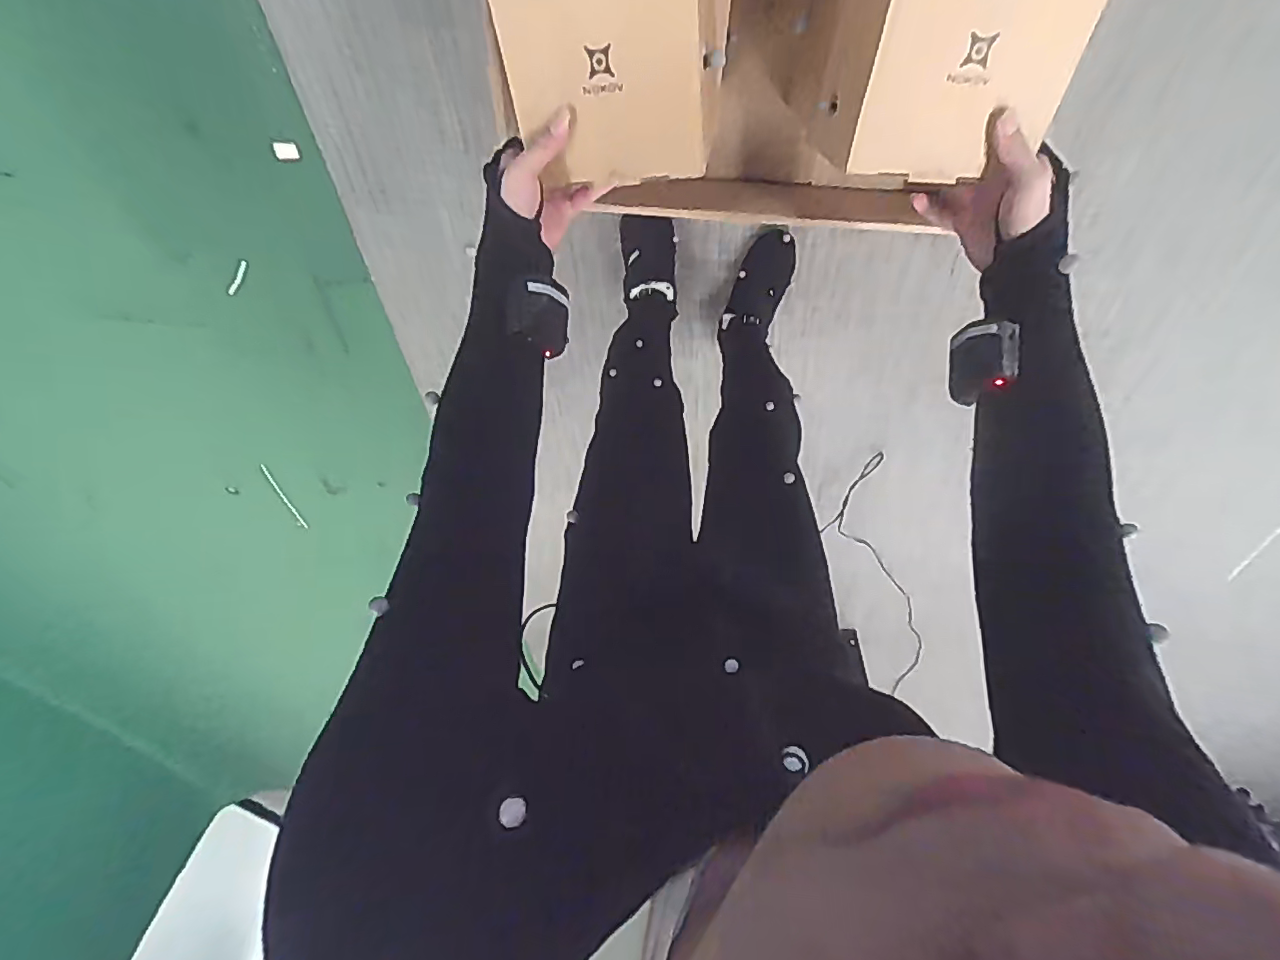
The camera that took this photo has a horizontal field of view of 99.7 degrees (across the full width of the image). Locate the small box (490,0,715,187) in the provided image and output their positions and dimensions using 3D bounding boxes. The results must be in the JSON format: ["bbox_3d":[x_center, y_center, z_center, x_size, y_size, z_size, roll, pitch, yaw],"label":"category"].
[{"bbox_3d":[-0.020,-0.392,0.489,0.168,0.176,0.179,2,137,11],"label":"small box"}]

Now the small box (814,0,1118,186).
[{"bbox_3d":[0.268,-0.383,0.480,0.168,0.176,0.179,3,130,-2],"label":"small box"}]
